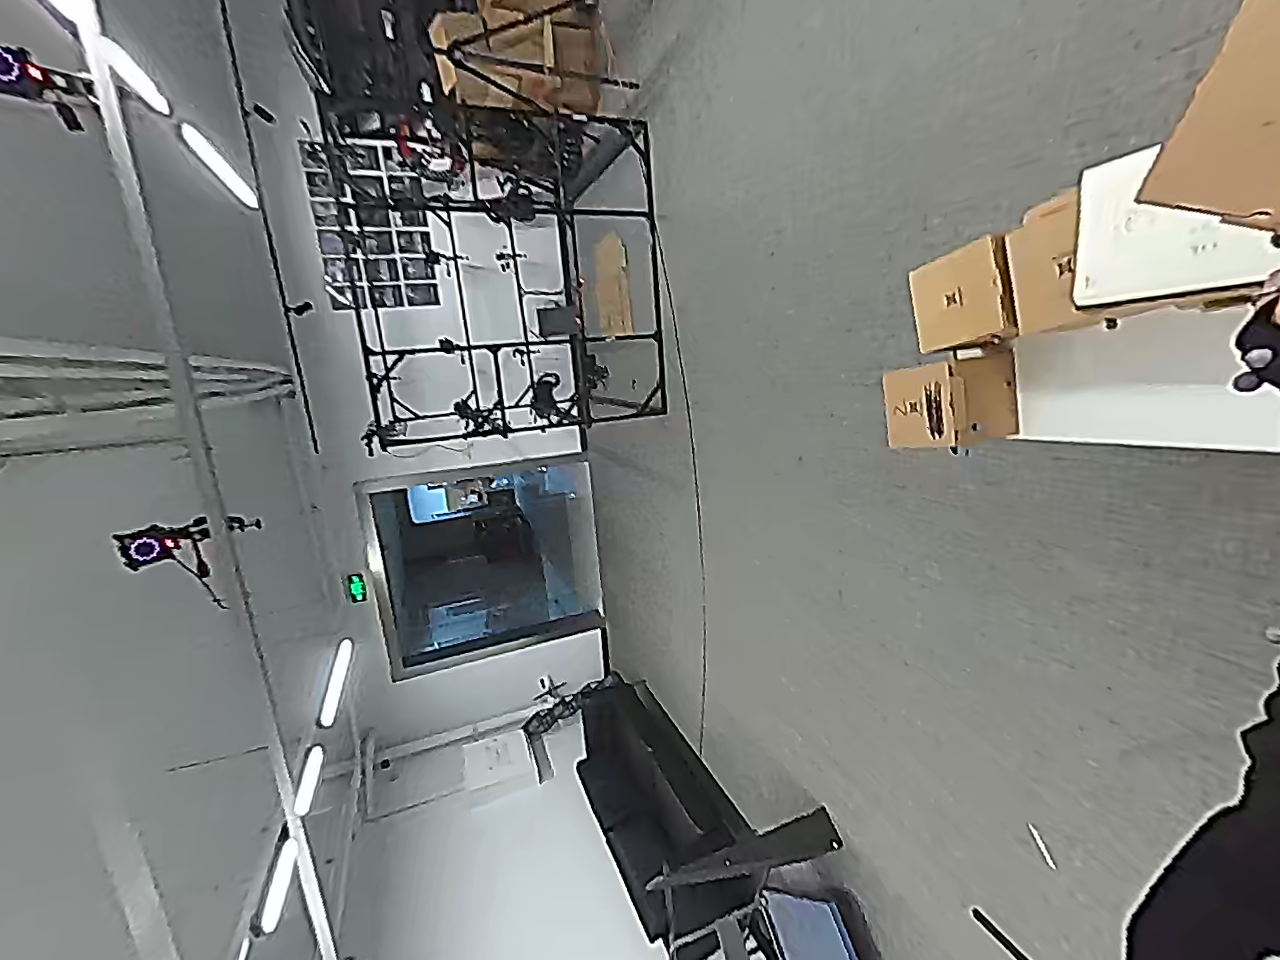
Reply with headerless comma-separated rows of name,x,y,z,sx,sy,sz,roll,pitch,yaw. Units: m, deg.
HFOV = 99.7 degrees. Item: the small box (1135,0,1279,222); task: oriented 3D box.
small box,0.518,-0.275,0.370,0.168,0.176,0.179,49,143,42
